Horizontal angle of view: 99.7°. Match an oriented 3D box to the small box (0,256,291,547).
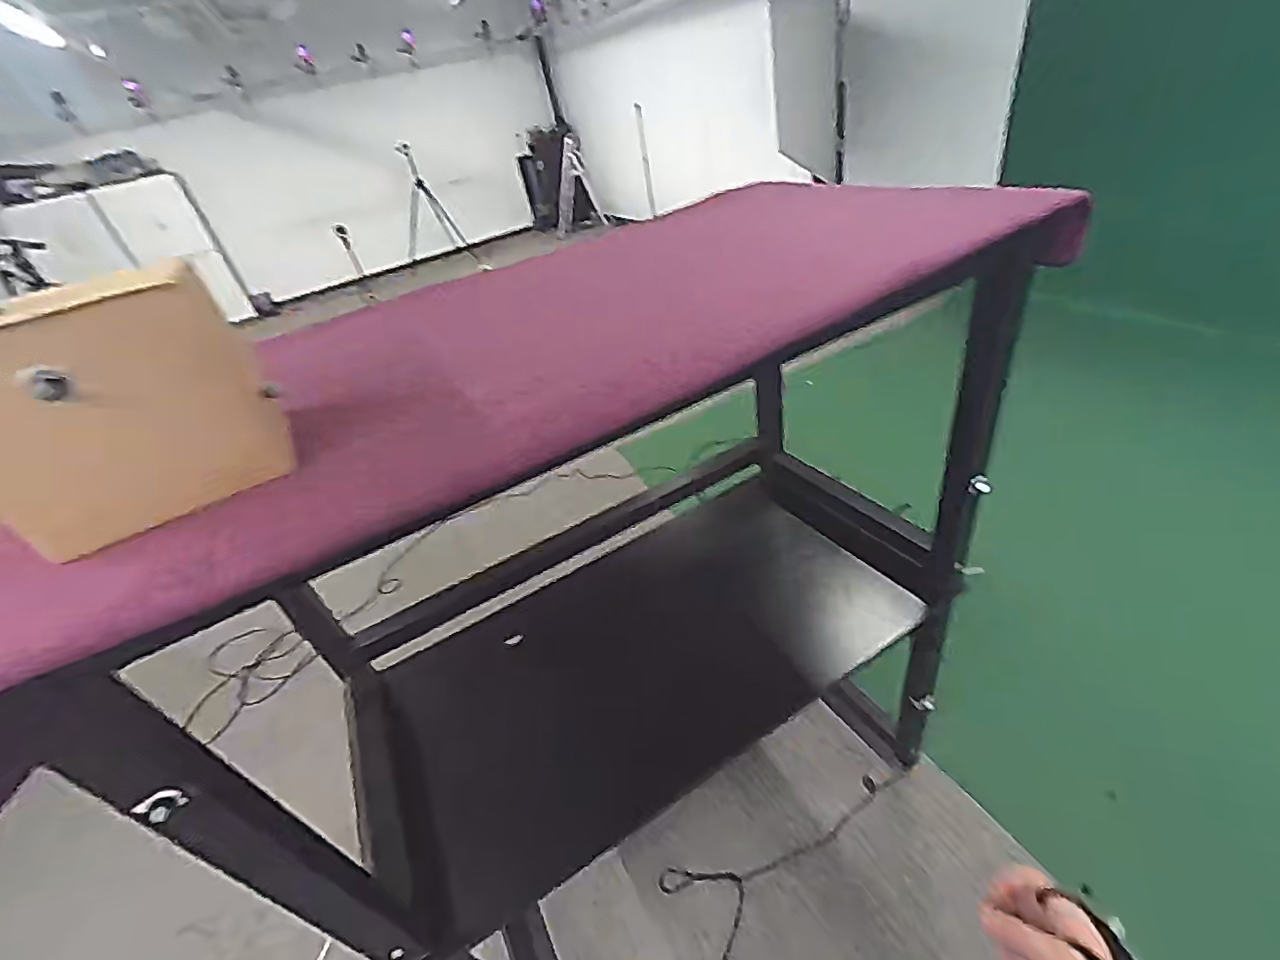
[{"bbox_3d":[-0.434,-0.074,0.459,0.179,0.176,0.168,-27,38,-21],"label":"small box"}]
